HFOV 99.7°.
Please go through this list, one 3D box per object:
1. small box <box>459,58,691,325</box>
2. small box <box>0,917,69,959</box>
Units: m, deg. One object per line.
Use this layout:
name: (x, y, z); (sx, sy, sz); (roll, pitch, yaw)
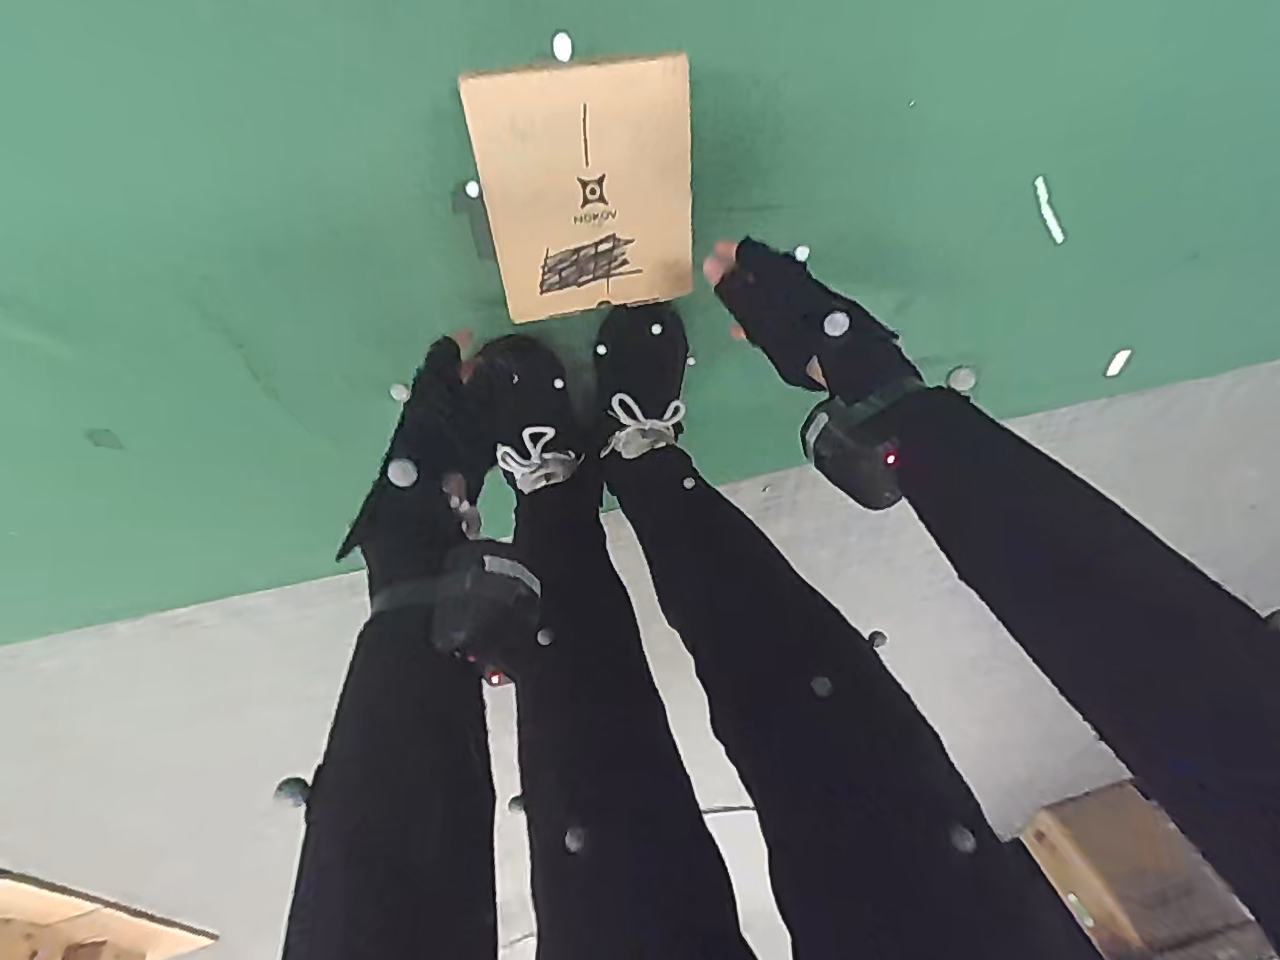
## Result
small box: (-0.056, -0.265, 0.489); (0.168, 0.176, 0.179); (-12, 129, -8)
small box: (-1.396, 1.068, 1.141); (0.179, 0.176, 0.168); (-16, 130, -5)
